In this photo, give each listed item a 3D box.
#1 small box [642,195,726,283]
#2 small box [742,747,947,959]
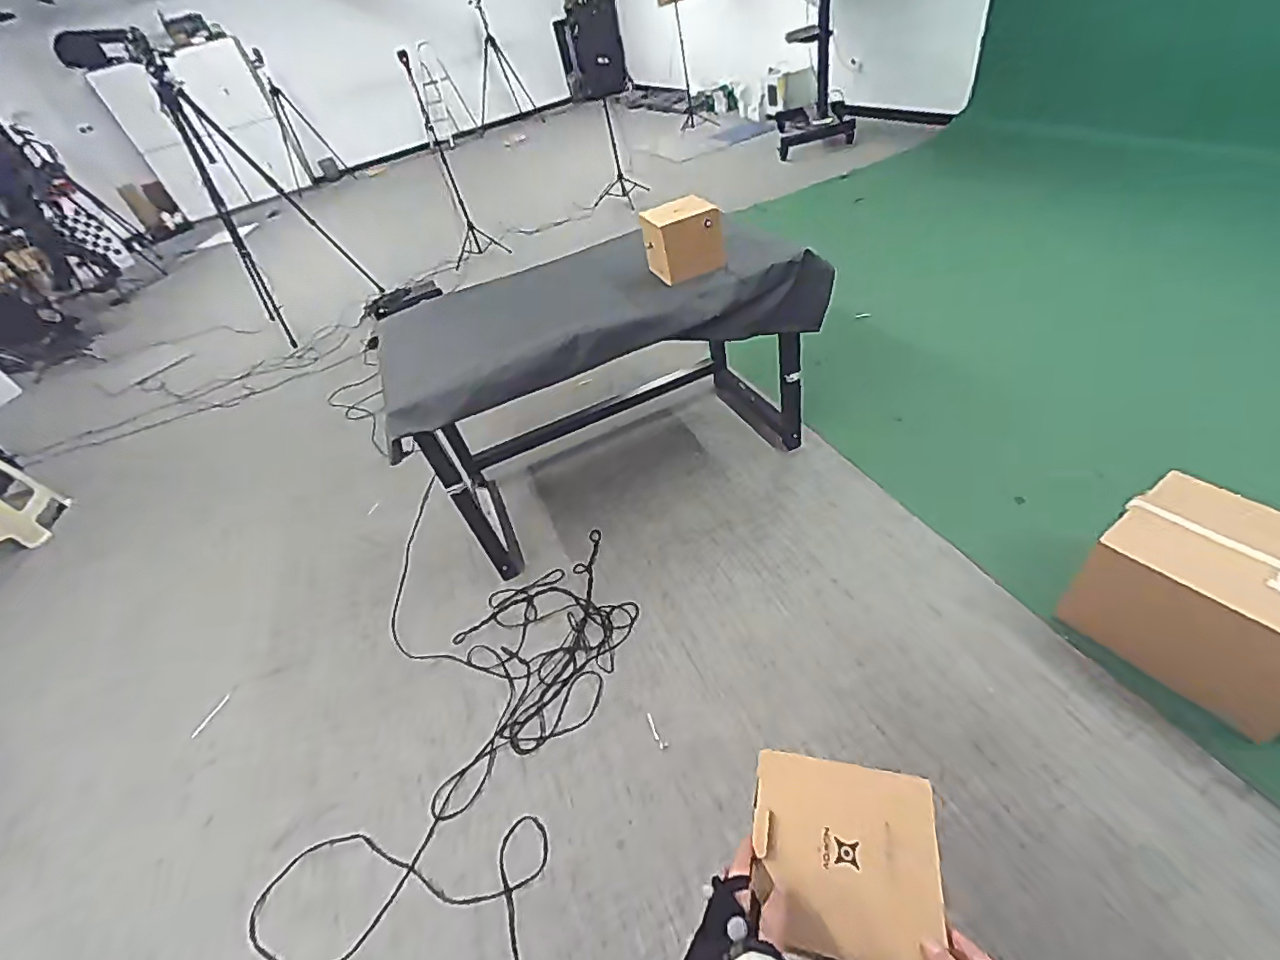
[{"bbox_3d":[0.126,-0.678,1.527,0.179,0.176,0.168,-22,42,-7],"label":"small box"},{"bbox_3d":[0.208,0.413,0.586,0.179,0.176,0.168,3,50,14],"label":"small box"}]
